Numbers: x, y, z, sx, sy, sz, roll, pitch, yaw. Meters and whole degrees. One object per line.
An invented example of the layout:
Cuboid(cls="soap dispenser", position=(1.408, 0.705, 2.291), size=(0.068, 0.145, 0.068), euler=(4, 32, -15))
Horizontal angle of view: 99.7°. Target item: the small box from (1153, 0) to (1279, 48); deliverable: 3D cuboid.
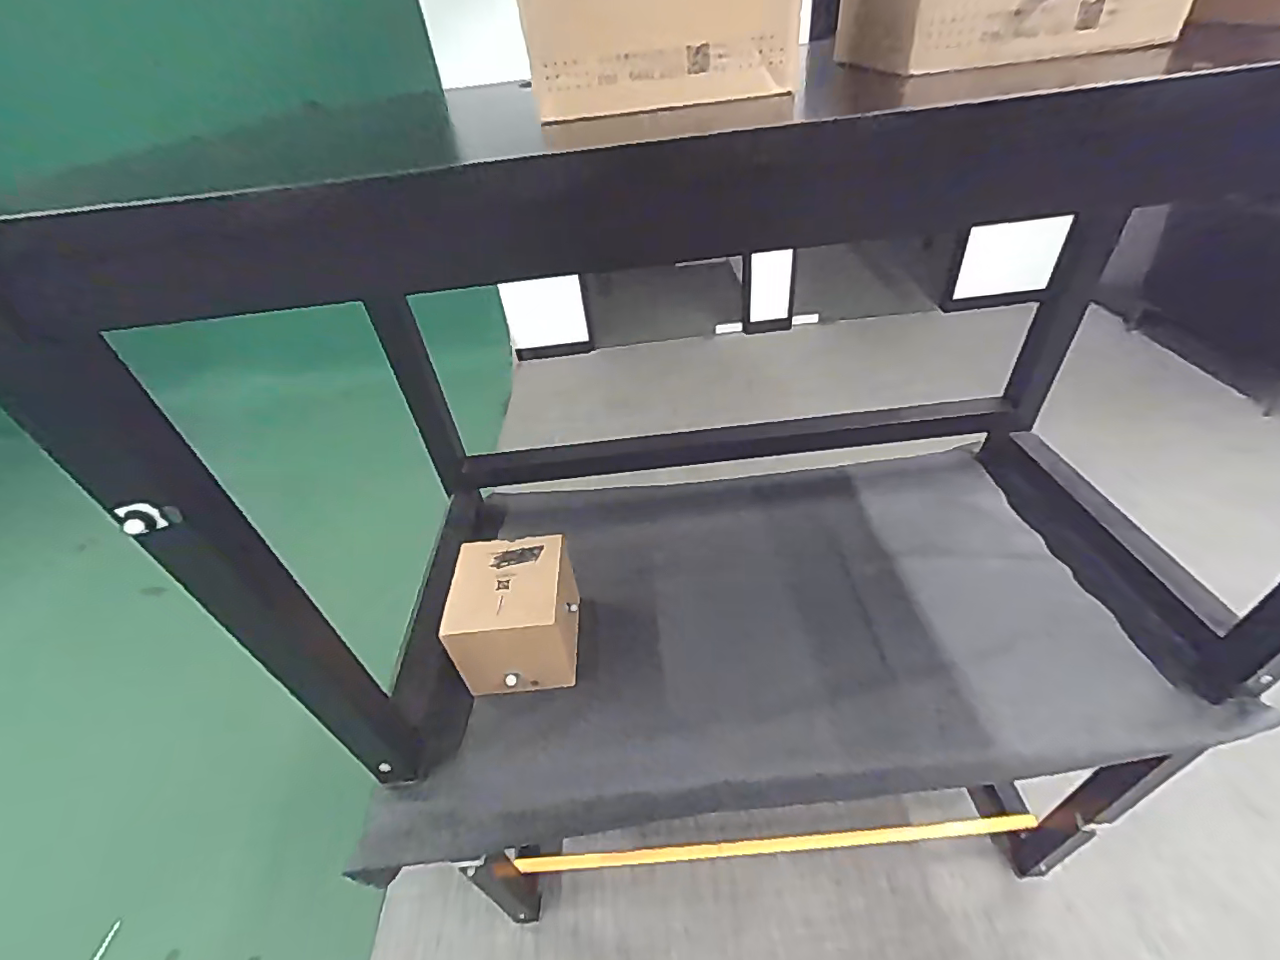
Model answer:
Cuboid(cls="small box", position=(0.490, -0.384, 0.333), size=(0.168, 0.176, 0.179), euler=(1, 40, 10))

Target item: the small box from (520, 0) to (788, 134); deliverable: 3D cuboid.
Cuboid(cls="small box", position=(0.005, -0.351, 0.373), size=(0.168, 0.176, 0.179), euler=(-6, 39, 2))

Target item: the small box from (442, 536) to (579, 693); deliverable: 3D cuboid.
Cuboid(cls="small box", position=(-0.194, 0.214, 0.867), size=(0.168, 0.176, 0.179), euler=(-6, 40, 1))
